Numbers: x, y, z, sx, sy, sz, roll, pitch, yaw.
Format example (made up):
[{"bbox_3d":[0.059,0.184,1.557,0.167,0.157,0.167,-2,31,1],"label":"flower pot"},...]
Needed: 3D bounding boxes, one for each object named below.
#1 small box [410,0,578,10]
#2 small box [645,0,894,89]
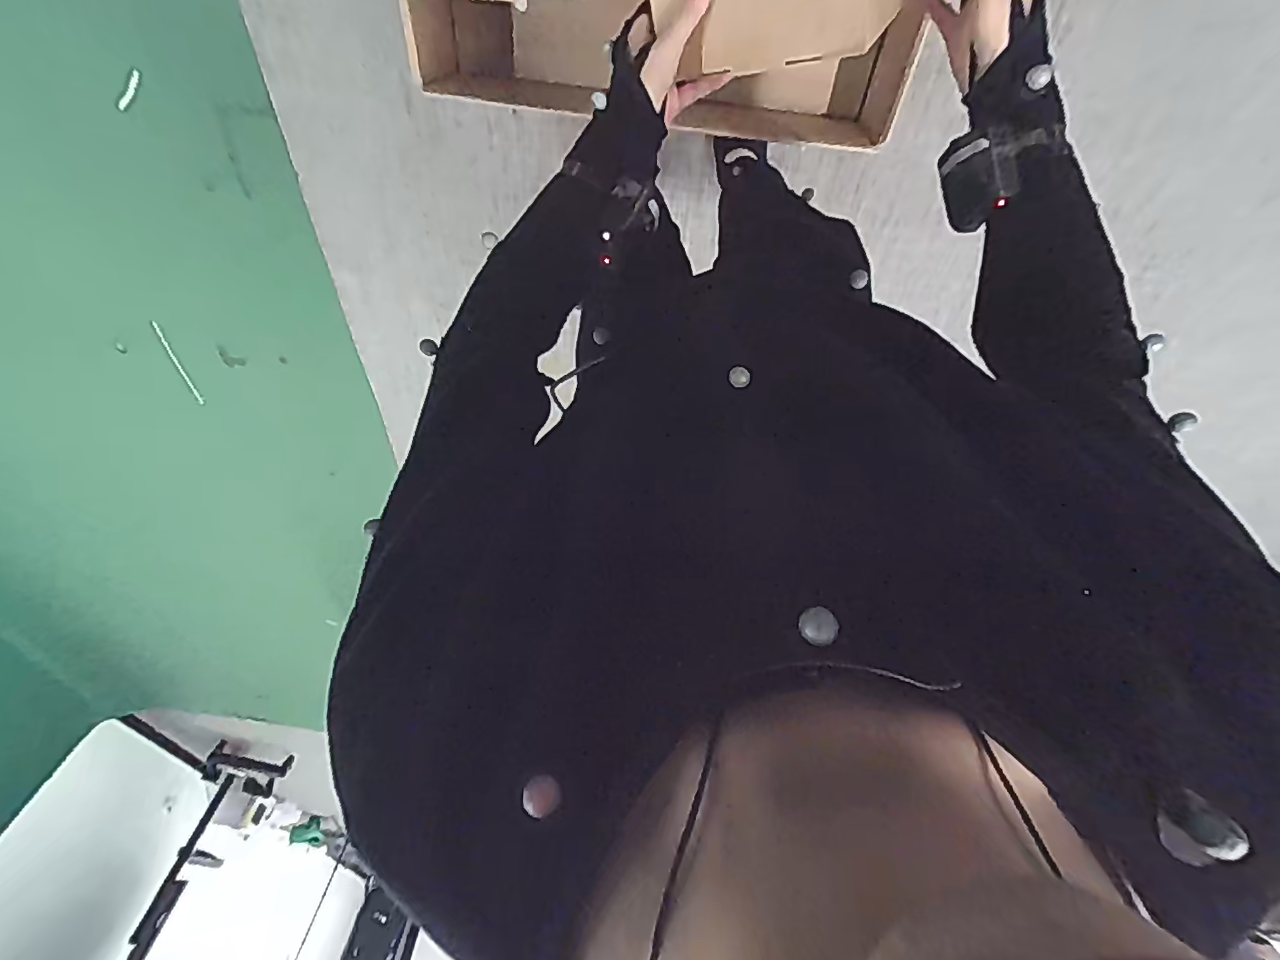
[{"bbox_3d":[-0.121,-0.542,0.478,0.168,0.176,0.179,6,135,4],"label":"small box"},{"bbox_3d":[0.106,-0.431,0.406,0.168,0.176,0.179,13,144,25],"label":"small box"}]
